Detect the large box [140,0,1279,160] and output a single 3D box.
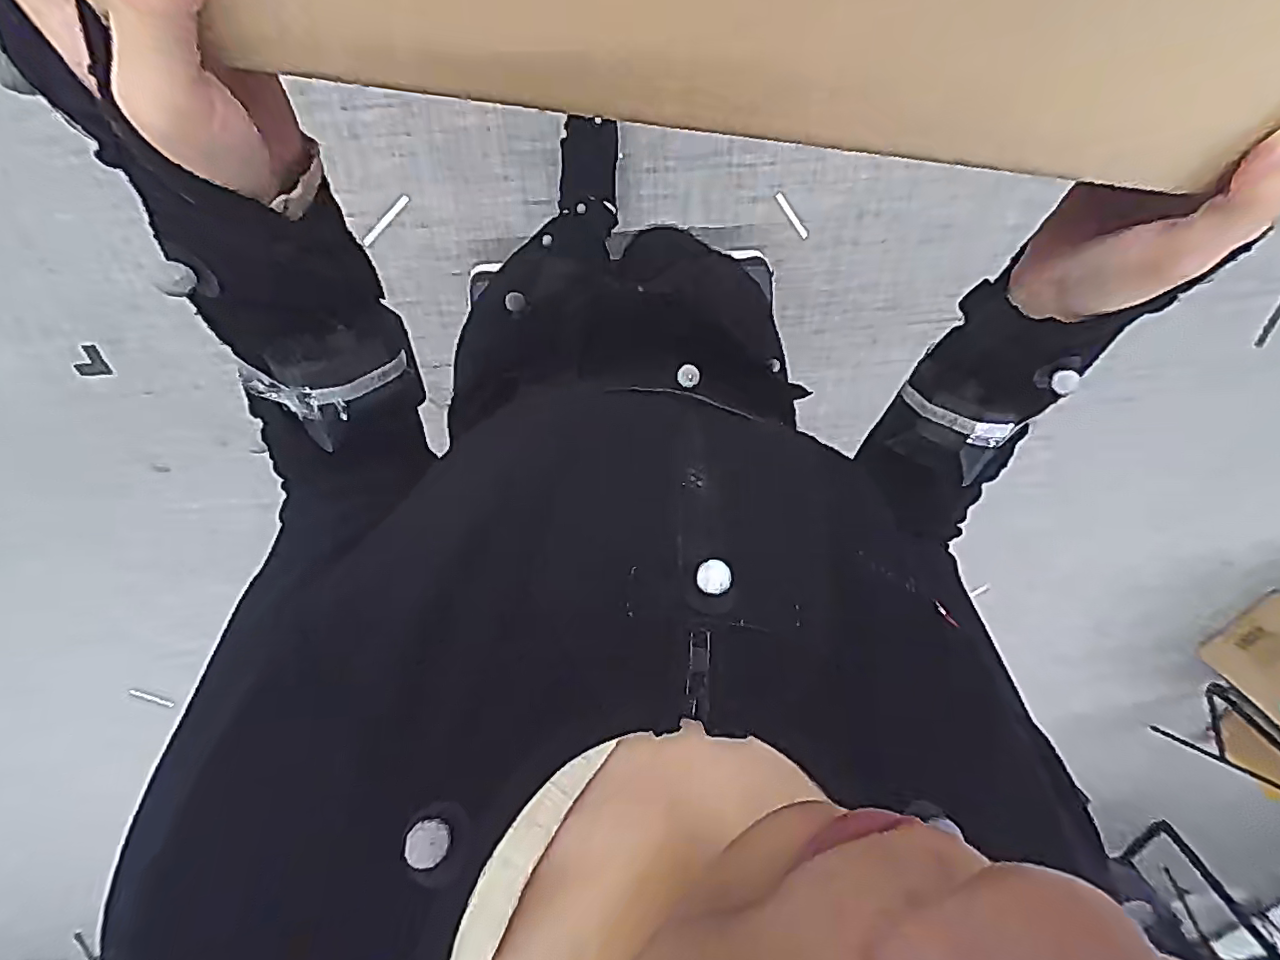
[{"bbox_3d":[0.061,-0.334,0.141,0.408,0.320,0.320,2,148,-8],"label":"large box"}]
